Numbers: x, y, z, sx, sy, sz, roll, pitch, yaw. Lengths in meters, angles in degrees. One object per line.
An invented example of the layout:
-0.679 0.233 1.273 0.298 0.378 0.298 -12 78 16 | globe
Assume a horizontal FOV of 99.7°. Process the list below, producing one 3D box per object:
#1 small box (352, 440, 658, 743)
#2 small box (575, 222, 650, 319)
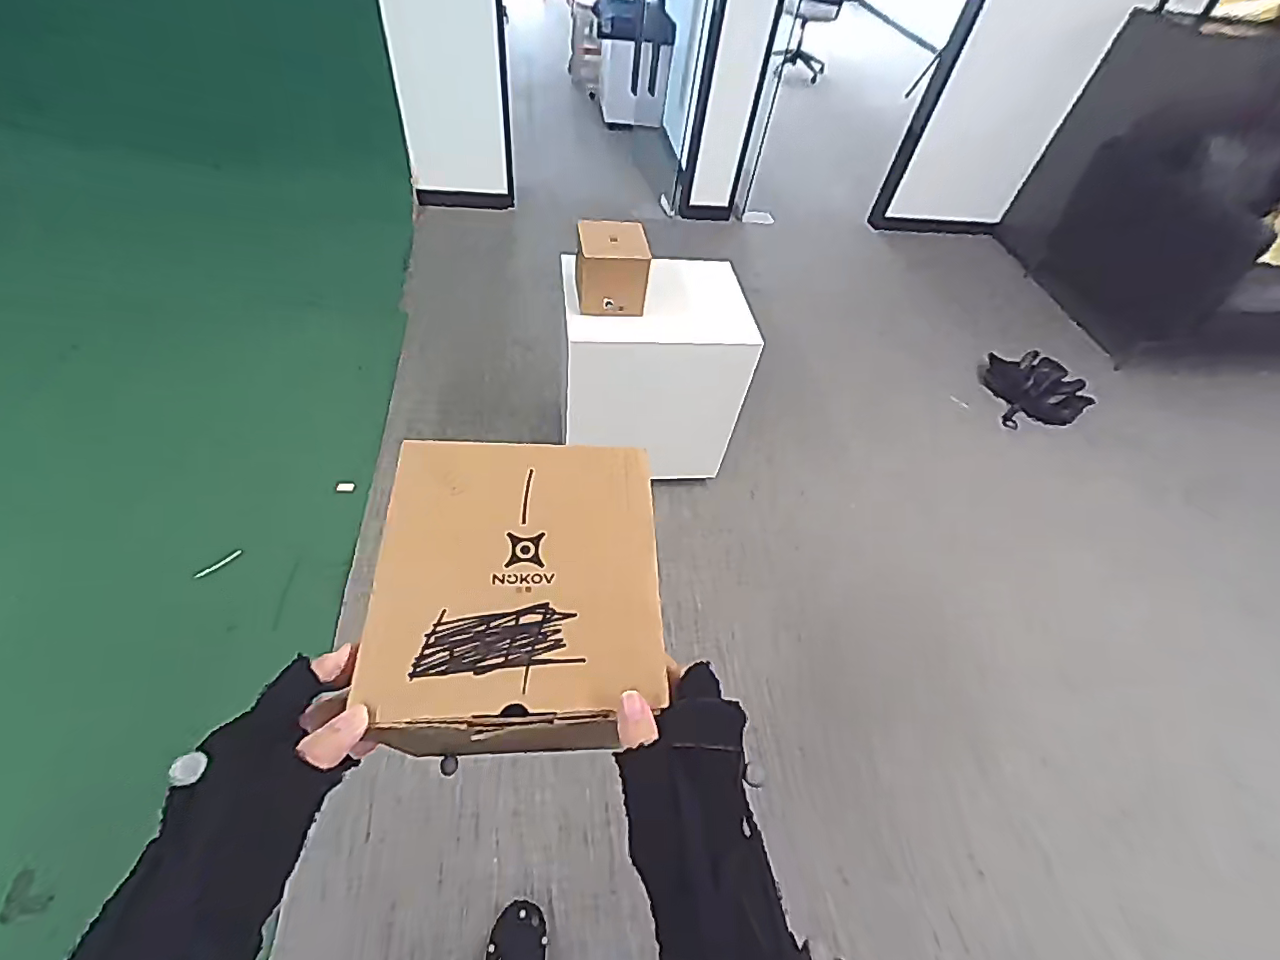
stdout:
-0.082 0.090 0.398 0.168 0.176 0.179 1 58 -8 | small box
-0.077 -0.536 1.388 0.168 0.176 0.179 -5 54 -10 | small box
